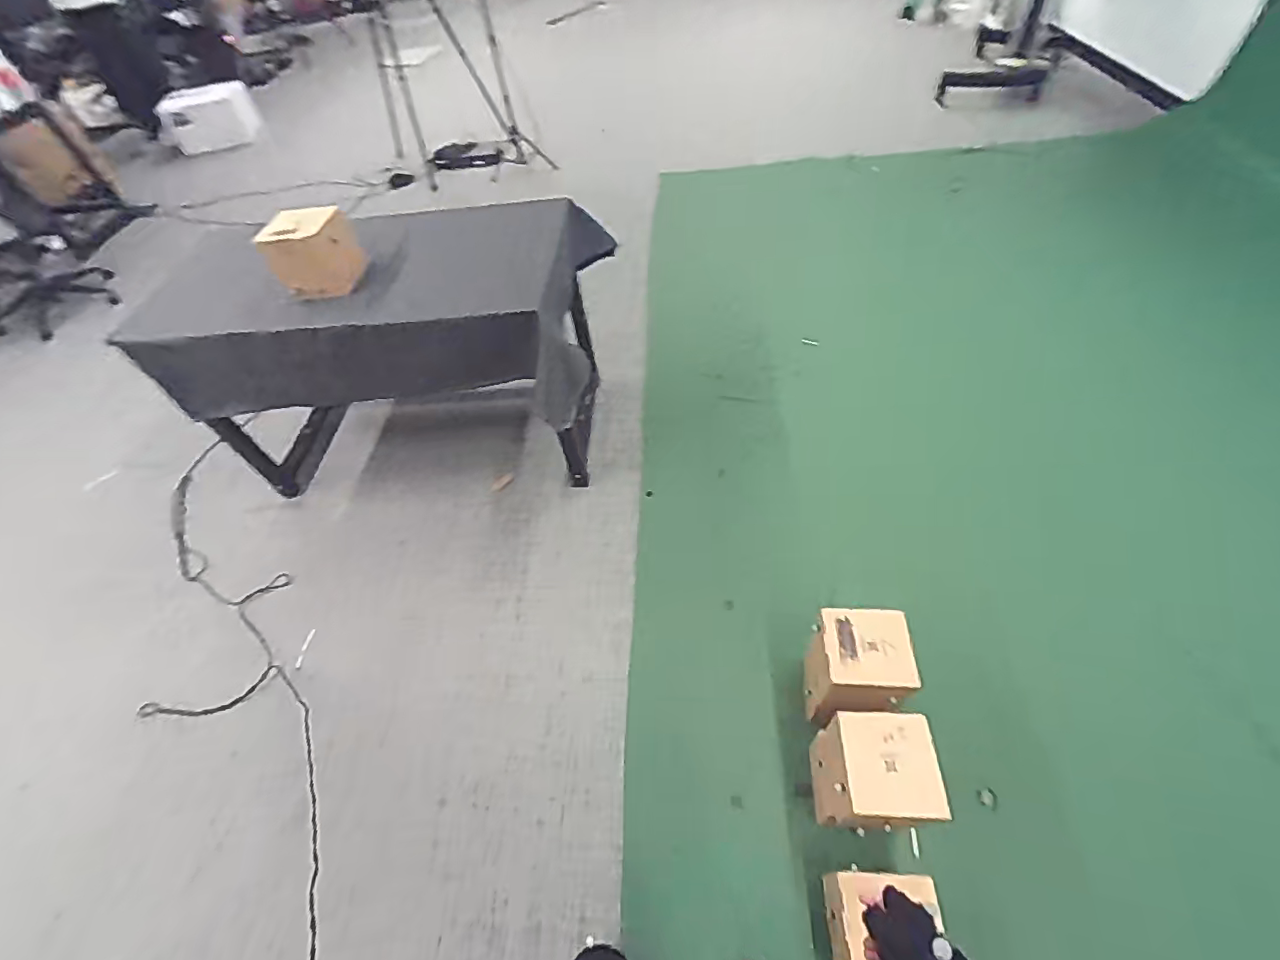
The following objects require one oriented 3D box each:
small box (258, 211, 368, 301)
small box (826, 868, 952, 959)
[{"bbox_3d":[-0.882,-0.606,1.480,0.168,0.176,0.179,-3,50,6],"label":"small box"},{"bbox_3d":[0.474,0.860,1.049,0.179,0.176,0.168,-2,52,7],"label":"small box"}]
